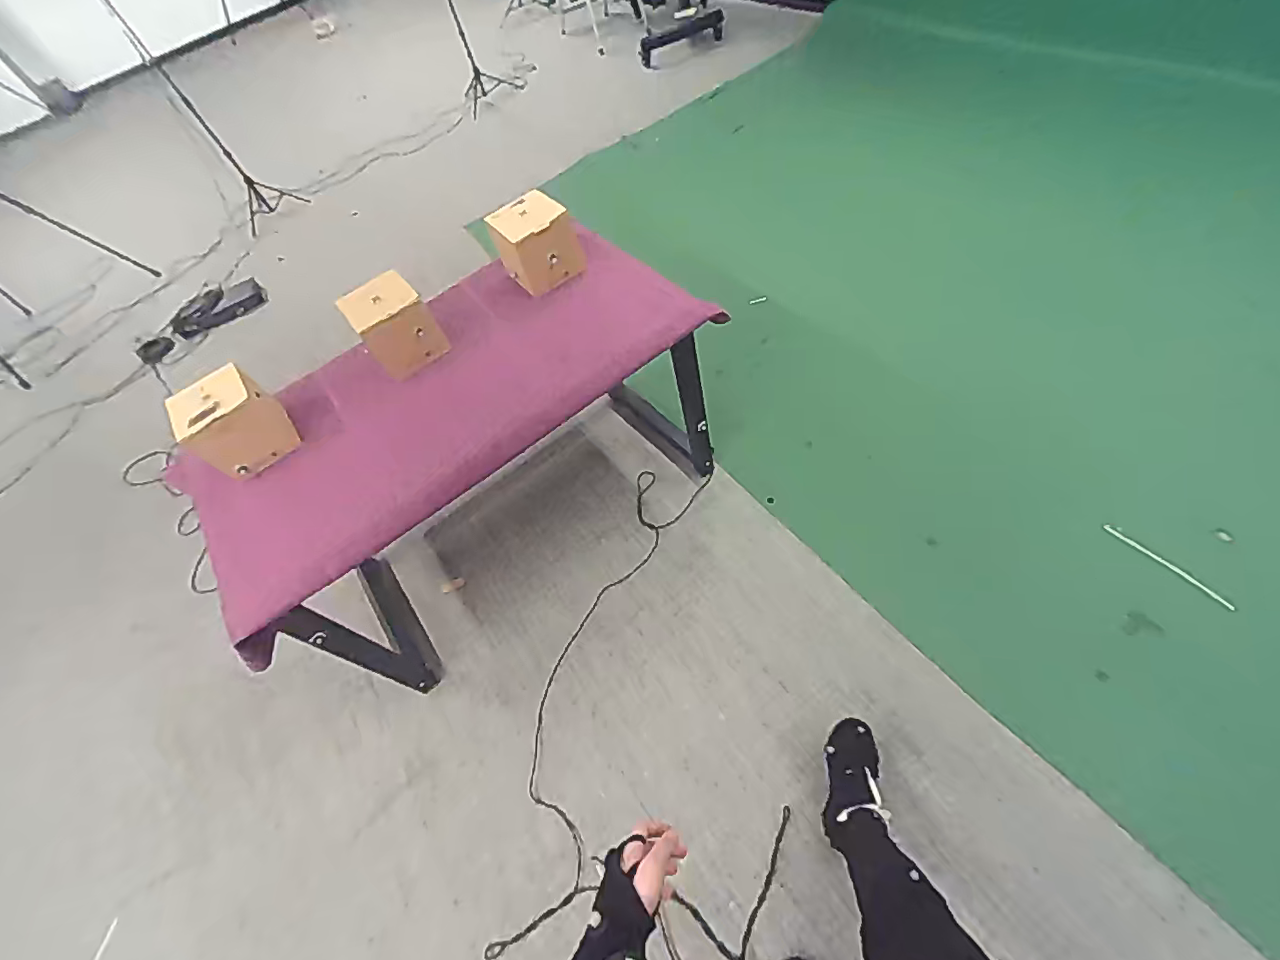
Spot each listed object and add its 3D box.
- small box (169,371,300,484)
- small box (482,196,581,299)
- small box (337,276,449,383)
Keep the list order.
[{"bbox_3d":[-0.937,-0.114,1.262,0.168,0.176,0.179,-38,56,-13],"label":"small box"},{"bbox_3d":[-0.279,-0.608,1.431,0.168,0.176,0.179,-37,57,-11],"label":"small box"},{"bbox_3d":[-0.611,-0.369,1.355,0.168,0.176,0.179,-37,56,-12],"label":"small box"}]
